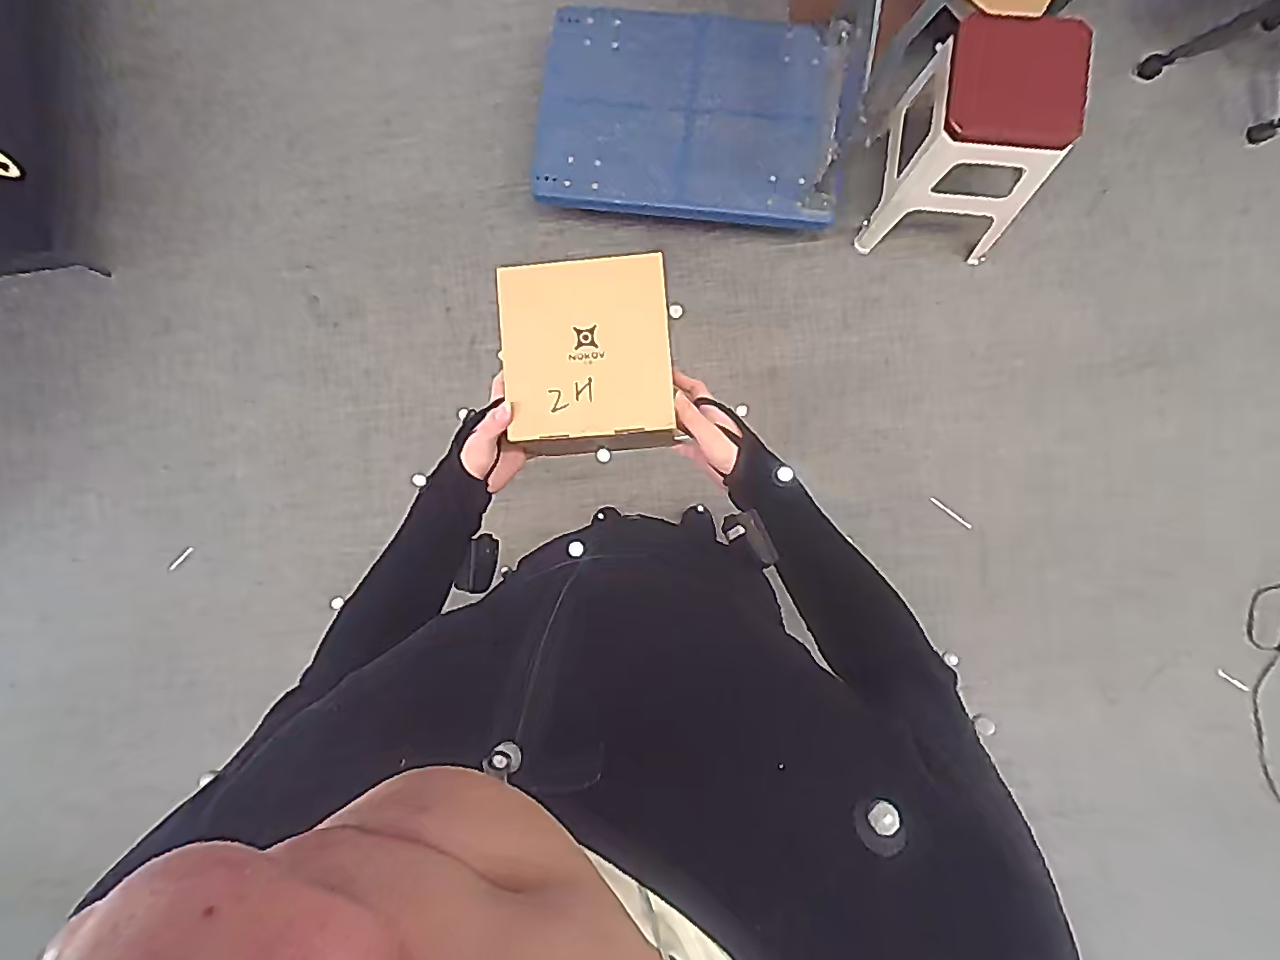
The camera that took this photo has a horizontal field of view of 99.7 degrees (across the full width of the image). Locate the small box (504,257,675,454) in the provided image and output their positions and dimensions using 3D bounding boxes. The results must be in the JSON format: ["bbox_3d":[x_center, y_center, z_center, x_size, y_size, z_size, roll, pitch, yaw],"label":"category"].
[{"bbox_3d":[-0.050,-0.129,0.617,0.168,0.176,0.179,-4,88,2],"label":"small box"}]

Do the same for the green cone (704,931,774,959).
[{"bbox_3d":[0.284,1.405,1.390,0.202,0.368,0.200,-4,87,2],"label":"green cone"}]
